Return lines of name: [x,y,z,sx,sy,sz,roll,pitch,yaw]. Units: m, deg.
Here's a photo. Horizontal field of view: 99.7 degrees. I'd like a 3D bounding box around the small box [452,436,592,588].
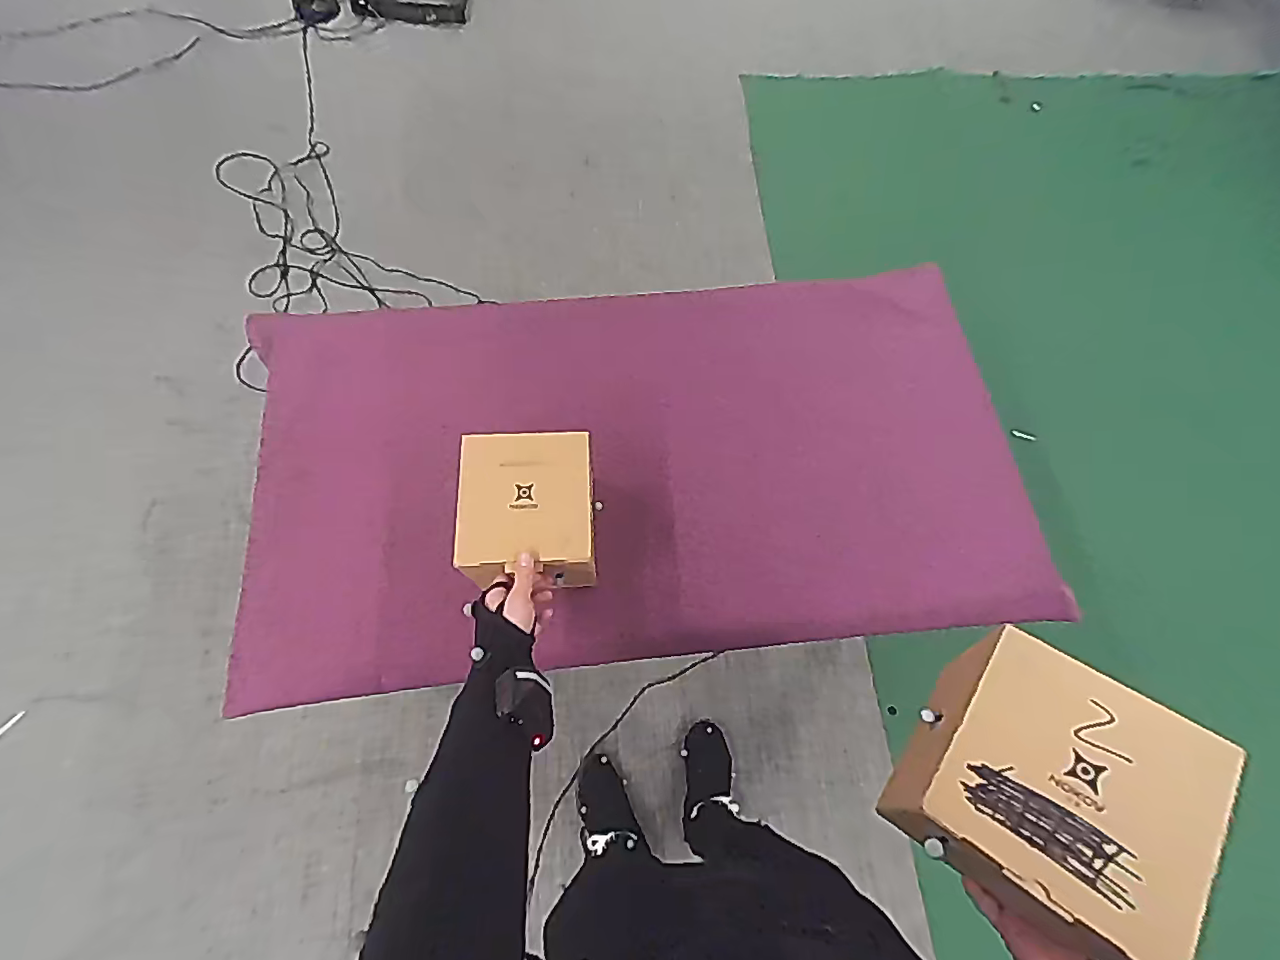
small box: [-0.152,0.052,0.755,0.168,0.176,0.179,-1,68,-5]
